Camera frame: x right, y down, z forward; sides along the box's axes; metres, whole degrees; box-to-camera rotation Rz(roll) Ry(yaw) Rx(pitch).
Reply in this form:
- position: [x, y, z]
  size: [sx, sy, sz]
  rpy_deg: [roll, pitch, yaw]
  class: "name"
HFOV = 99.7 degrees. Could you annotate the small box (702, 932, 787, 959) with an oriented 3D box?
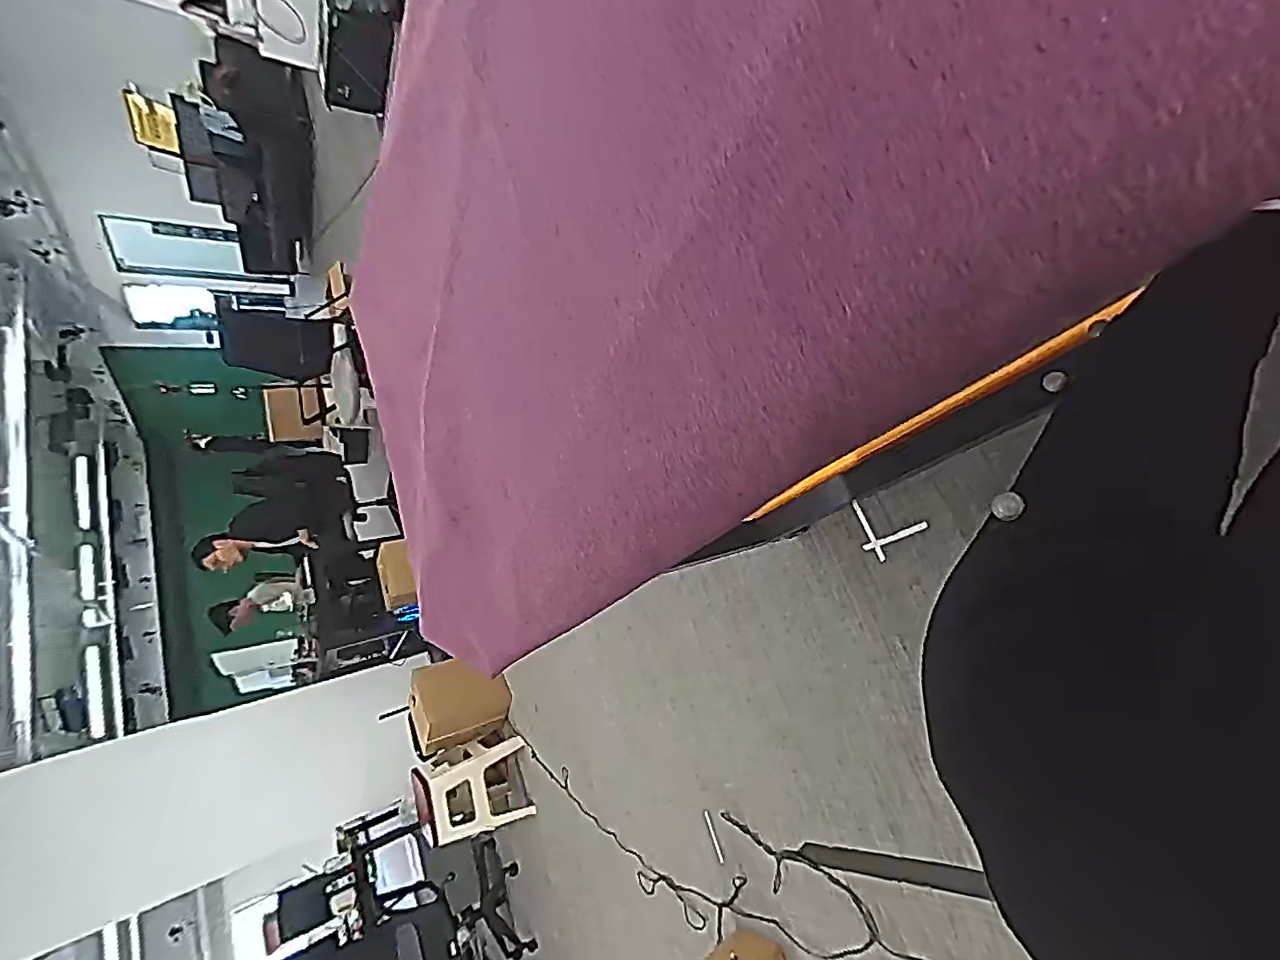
- position: [0.275, 1.289, 1.361]
  size: [0.179, 0.176, 0.168]
  rpy_deg: [-41, 65, 49]
  class: "small box"
